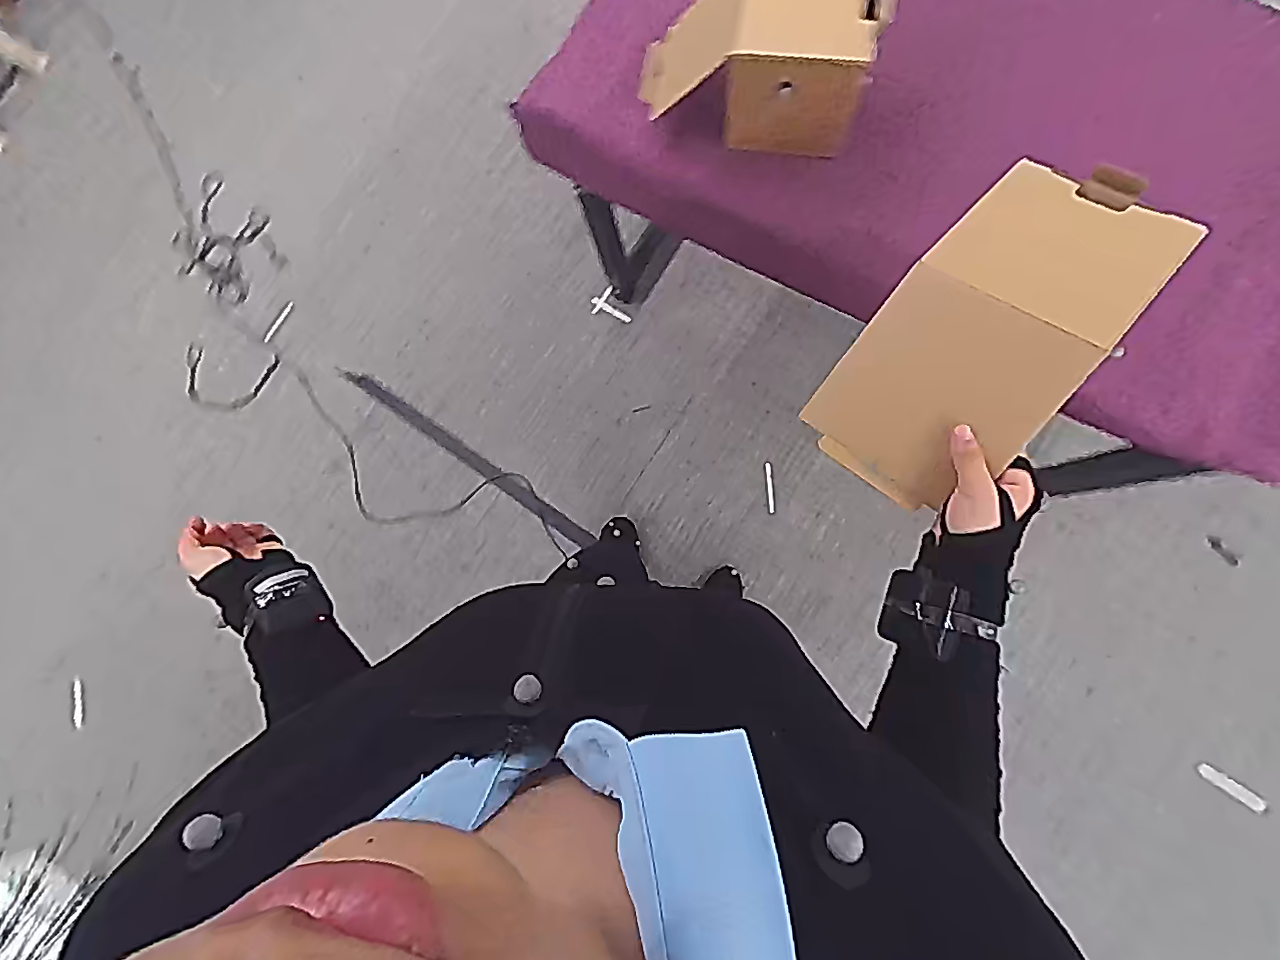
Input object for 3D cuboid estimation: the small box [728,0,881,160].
[{"bbox_3d":[0.225,-0.590,0.769,0.179,0.176,0.168,11,84,8],"label":"small box"}]
